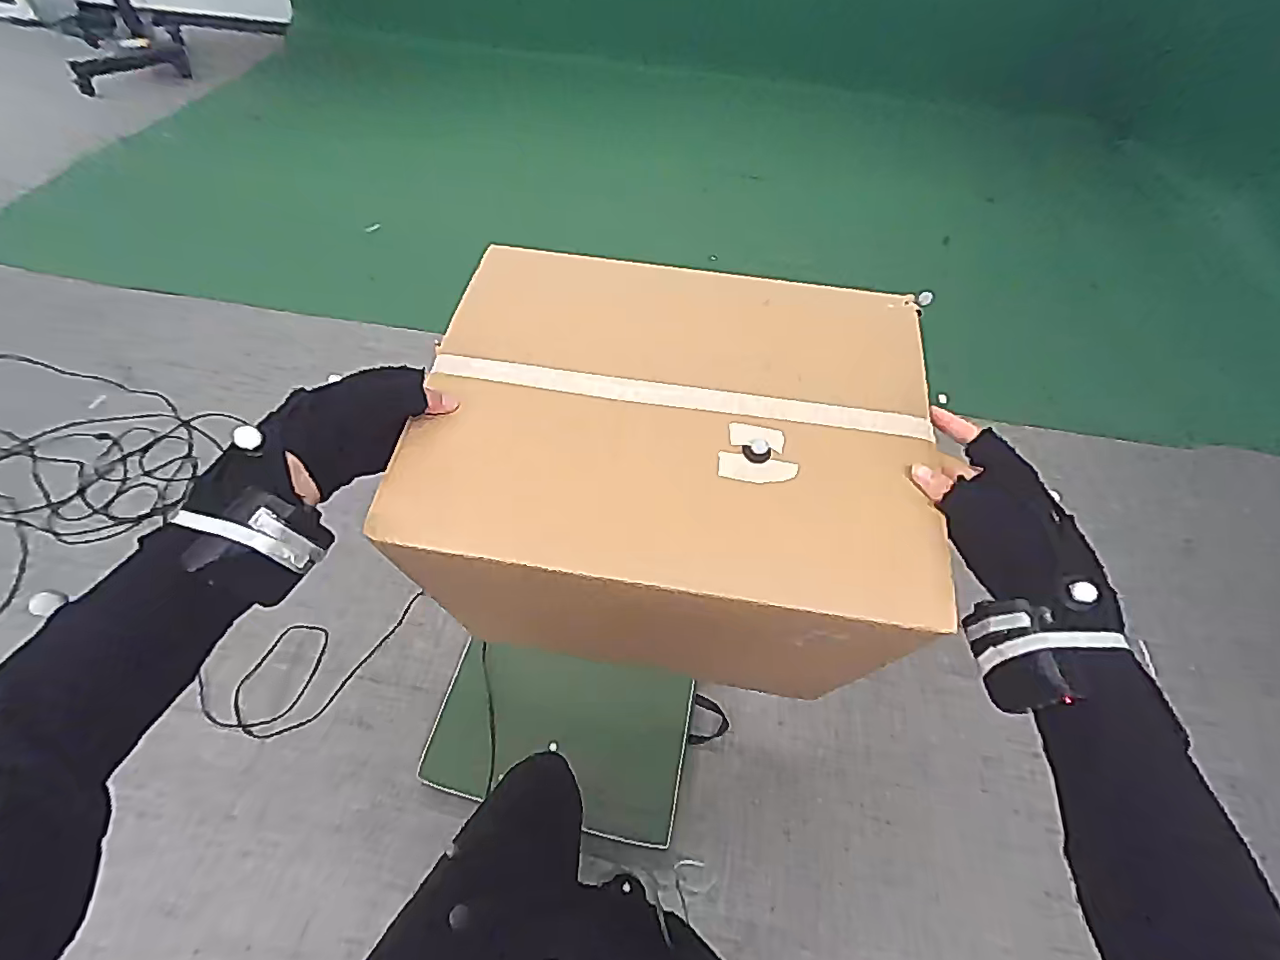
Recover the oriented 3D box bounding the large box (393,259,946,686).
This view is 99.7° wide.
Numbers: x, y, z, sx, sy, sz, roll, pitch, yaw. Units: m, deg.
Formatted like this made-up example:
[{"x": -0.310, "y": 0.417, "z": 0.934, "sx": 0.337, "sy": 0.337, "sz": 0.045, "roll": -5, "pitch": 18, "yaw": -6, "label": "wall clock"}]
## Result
[{"x": 0.031, "y": 0.010, "z": 0.581, "sx": 0.408, "sy": 0.320, "sz": 0.320, "roll": 9, "pitch": 61, "yaw": 3, "label": "large box"}]
